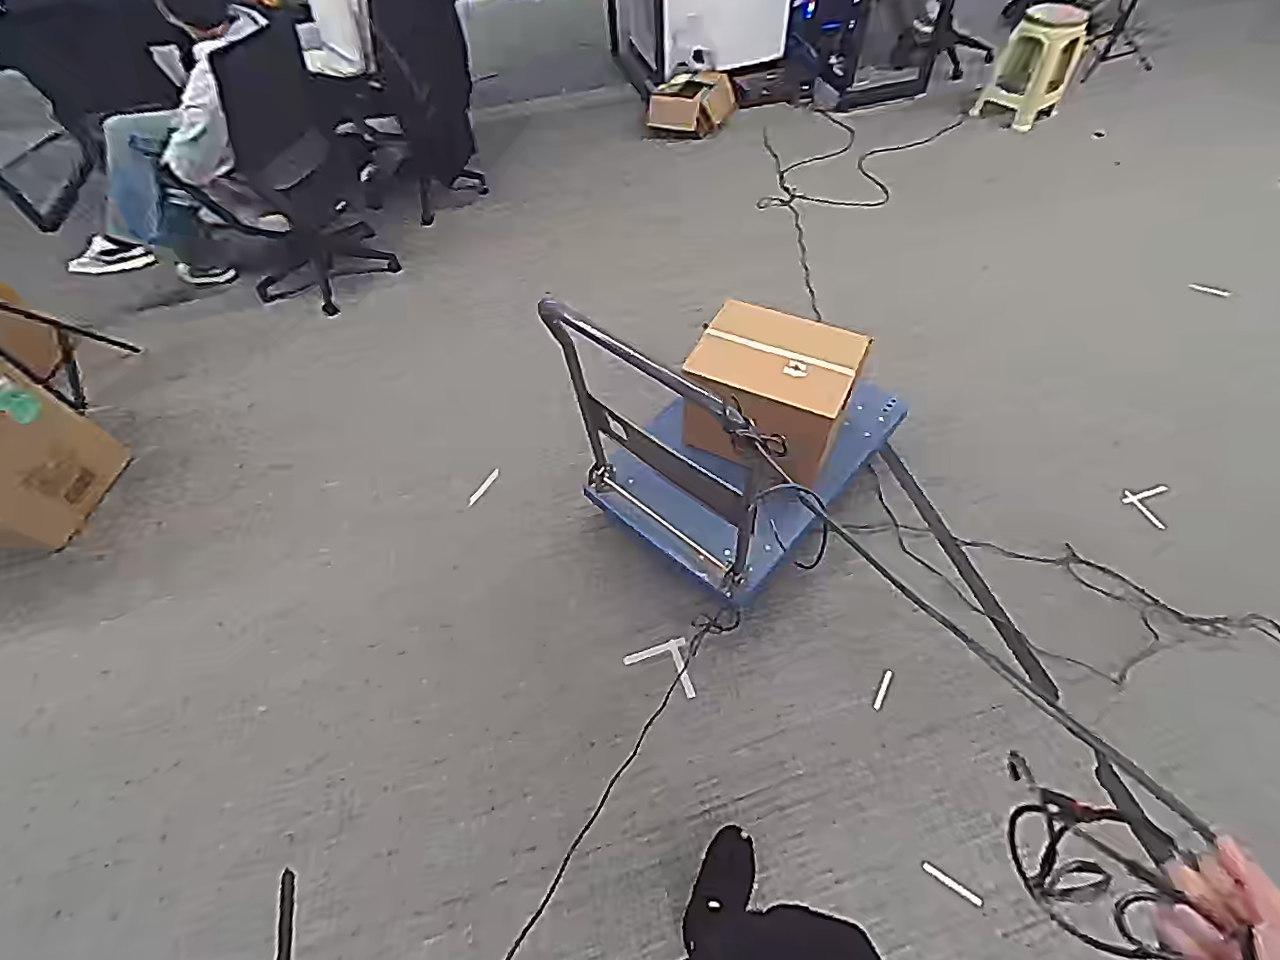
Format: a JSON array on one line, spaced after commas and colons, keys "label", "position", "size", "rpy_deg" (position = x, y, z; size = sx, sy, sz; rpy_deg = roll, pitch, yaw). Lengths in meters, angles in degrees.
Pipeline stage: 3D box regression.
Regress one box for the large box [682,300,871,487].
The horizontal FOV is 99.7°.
[{"label": "large box", "position": [0.359, -0.240, 1.506], "size": [0.408, 0.320, 0.320], "rpy_deg": [23, 62, 18]}]
